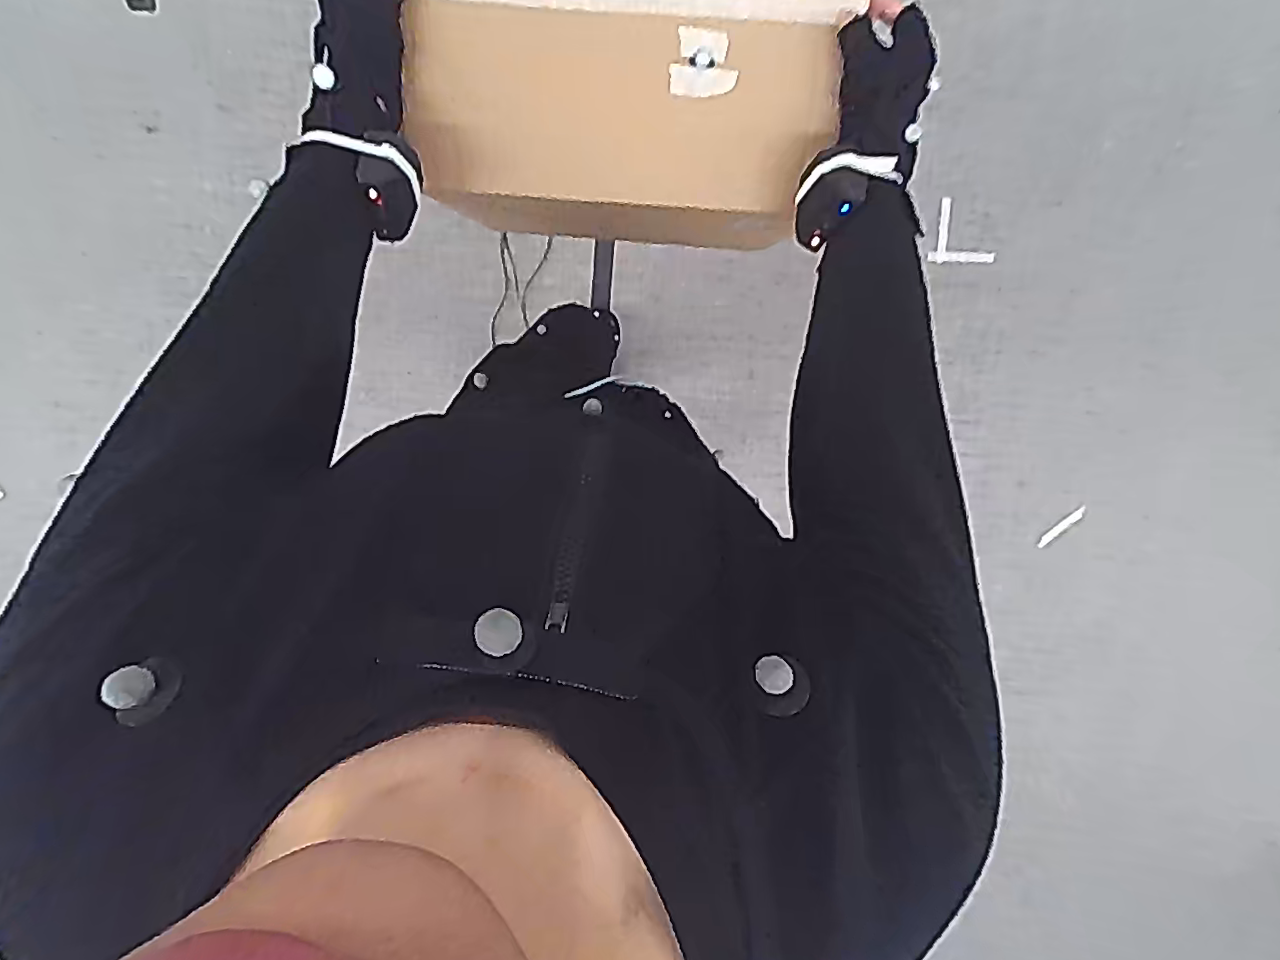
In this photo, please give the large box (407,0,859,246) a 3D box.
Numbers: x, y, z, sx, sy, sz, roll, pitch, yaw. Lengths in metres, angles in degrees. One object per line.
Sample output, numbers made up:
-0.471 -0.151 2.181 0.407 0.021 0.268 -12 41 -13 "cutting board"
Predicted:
-0.008 -0.459 0.616 0.408 0.320 0.320 3 108 -1 "large box"
